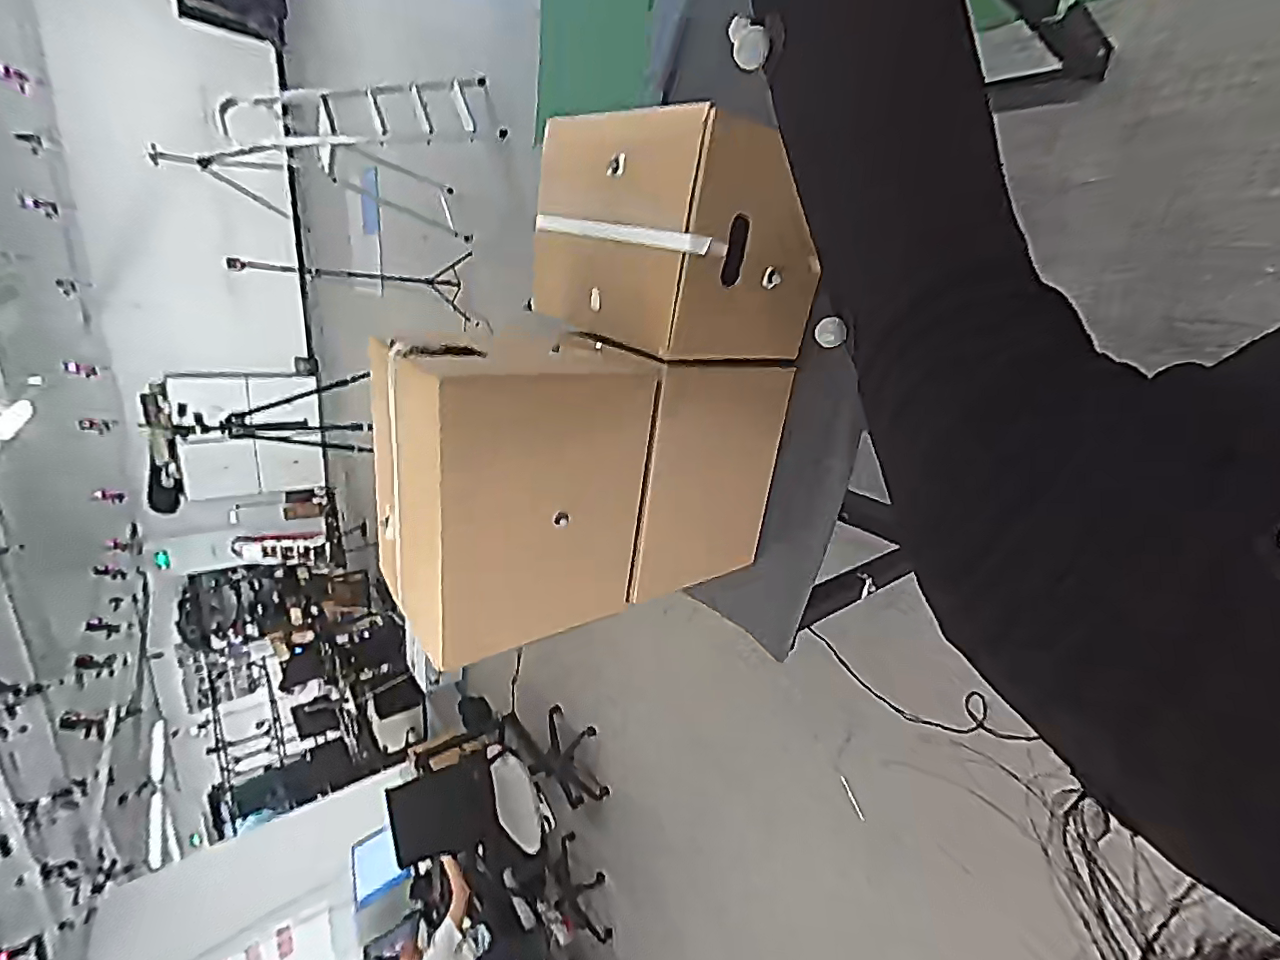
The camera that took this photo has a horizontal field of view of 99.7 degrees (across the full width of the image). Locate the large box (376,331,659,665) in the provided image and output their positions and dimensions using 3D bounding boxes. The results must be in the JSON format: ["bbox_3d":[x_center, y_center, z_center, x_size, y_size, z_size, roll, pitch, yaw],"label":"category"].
[{"bbox_3d":[-0.195,-0.010,0.846,0.320,0.320,0.408,31,122,46],"label":"large box"}]
